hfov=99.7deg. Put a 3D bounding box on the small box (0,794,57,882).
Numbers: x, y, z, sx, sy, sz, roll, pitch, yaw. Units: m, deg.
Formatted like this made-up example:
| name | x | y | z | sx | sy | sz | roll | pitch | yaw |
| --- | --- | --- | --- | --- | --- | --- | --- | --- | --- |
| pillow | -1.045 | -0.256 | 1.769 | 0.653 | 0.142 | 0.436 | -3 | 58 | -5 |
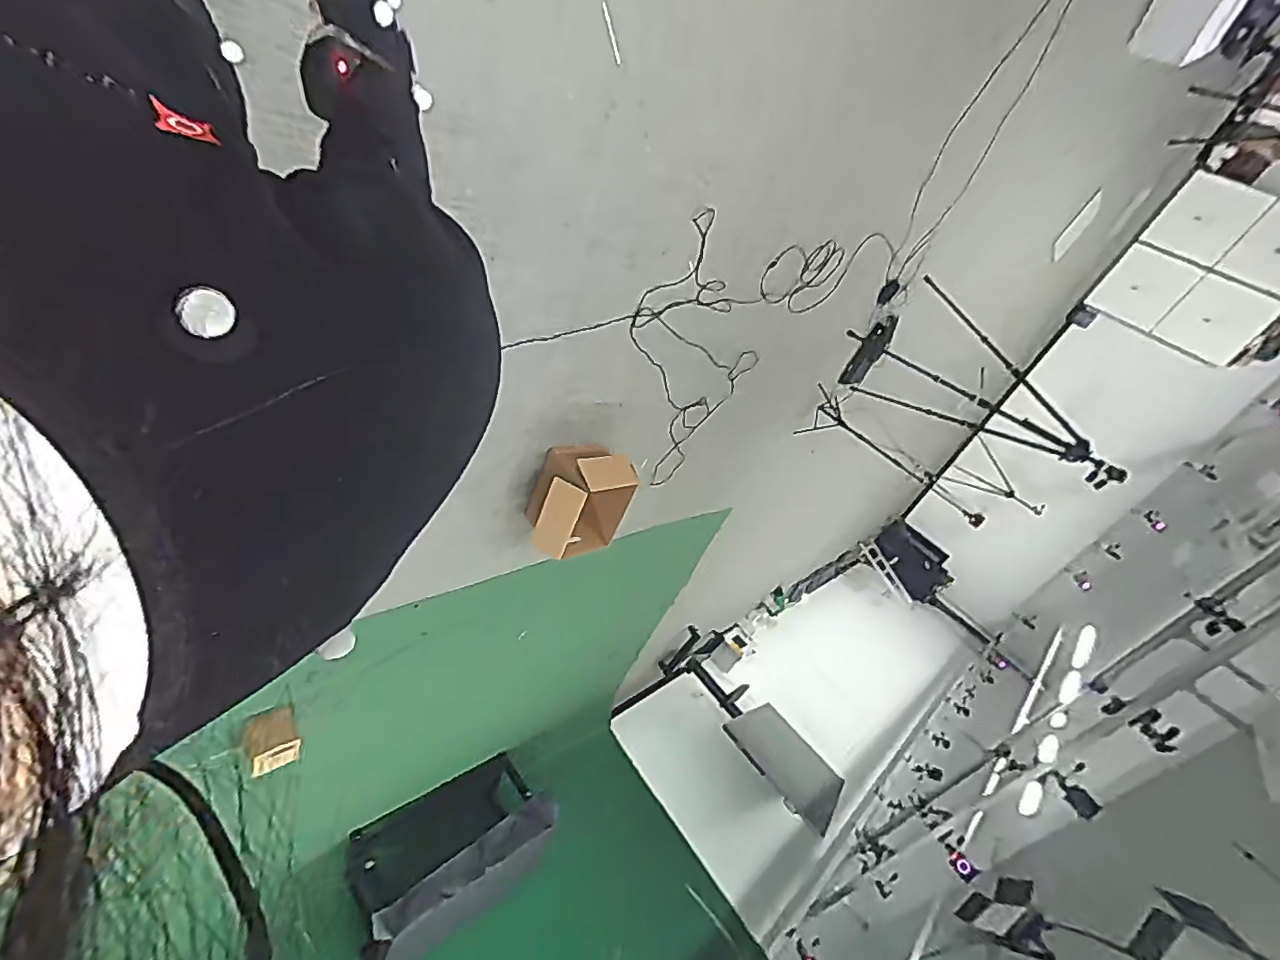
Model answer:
| name | x | y | z | sx | sy | sz | roll | pitch | yaw |
| --- | --- | --- | --- | --- | --- | --- | --- | --- | --- |
| small box | -2.065 | 1.184 | 1.778 | 0.179 | 0.176 | 0.168 | -11 | 138 | -46 |
